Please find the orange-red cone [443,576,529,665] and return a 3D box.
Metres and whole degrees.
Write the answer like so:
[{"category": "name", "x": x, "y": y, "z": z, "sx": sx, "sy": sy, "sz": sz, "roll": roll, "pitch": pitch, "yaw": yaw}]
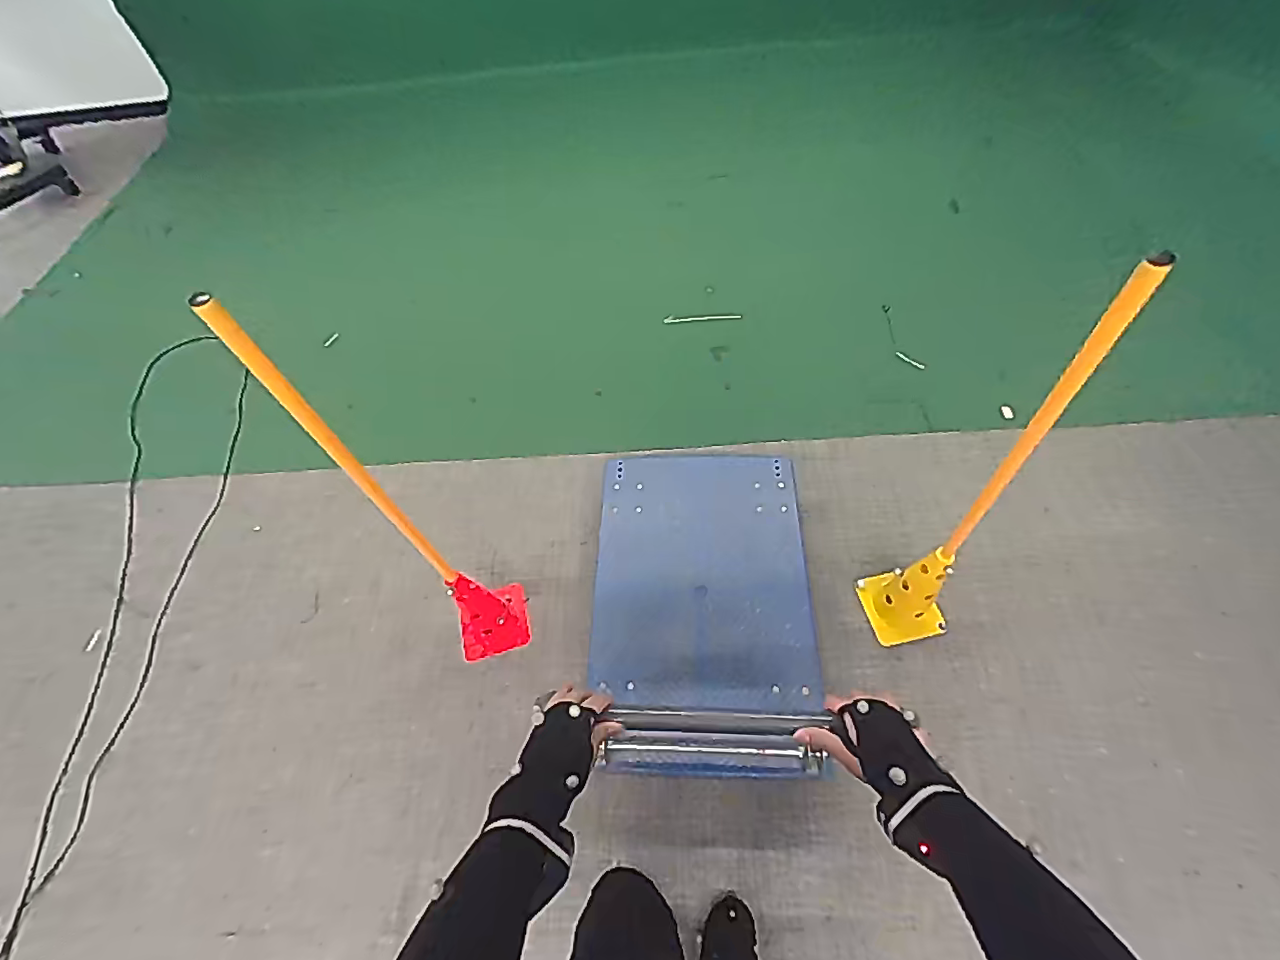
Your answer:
[{"category": "orange-red cone", "x": -0.453, "y": 0.348, "z": 1.476, "sx": 0.199, "sy": 0.360, "sz": 0.198, "roll": -16, "pitch": 57, "yaw": -3}]
